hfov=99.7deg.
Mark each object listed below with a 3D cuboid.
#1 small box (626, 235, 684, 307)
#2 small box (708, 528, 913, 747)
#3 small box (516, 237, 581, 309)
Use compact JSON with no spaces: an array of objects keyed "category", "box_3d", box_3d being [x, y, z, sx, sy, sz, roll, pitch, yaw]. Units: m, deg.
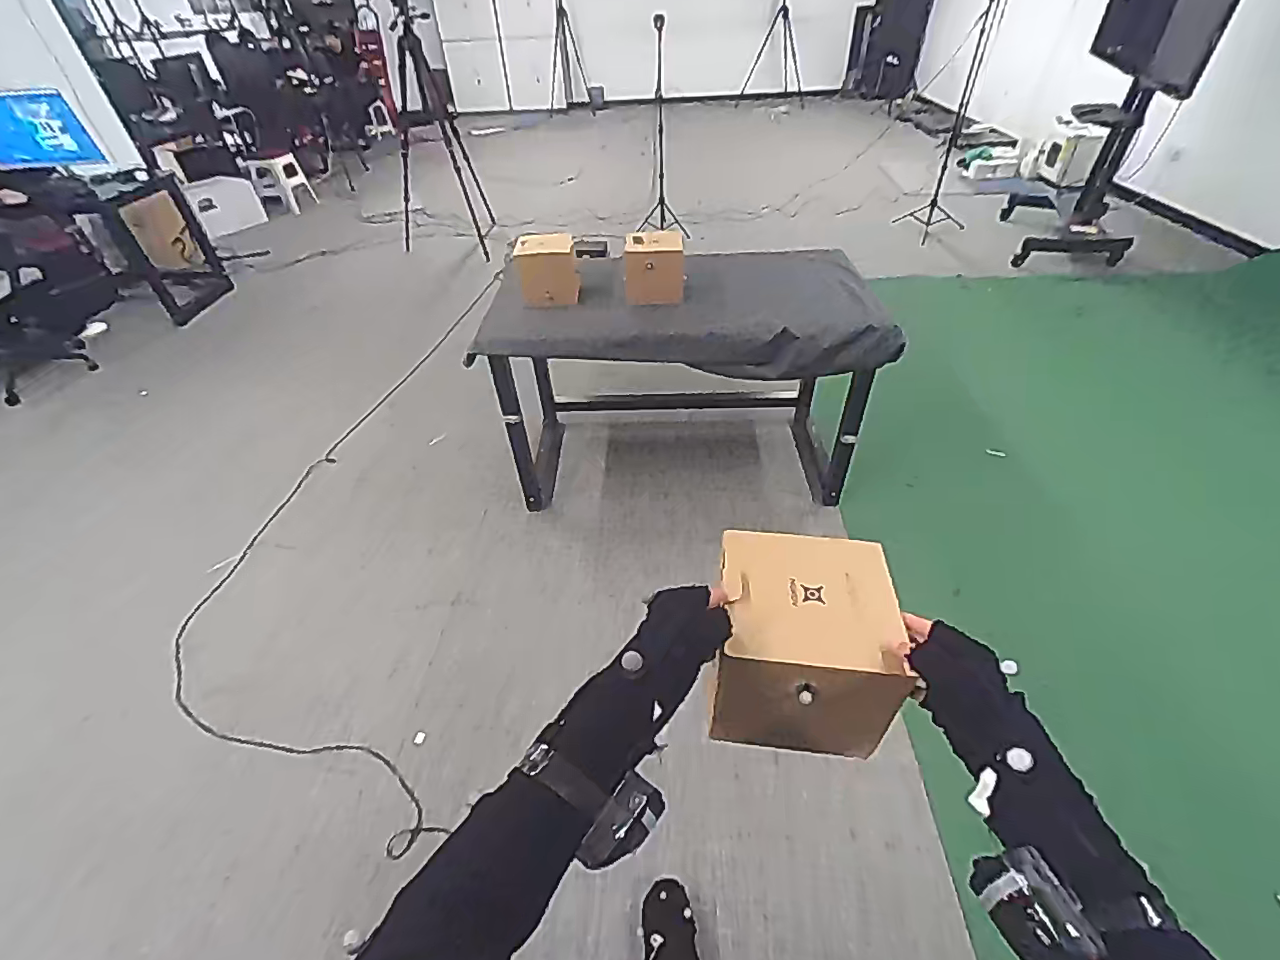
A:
[{"category":"small box","box_3d":[0.049,-0.654,1.700,0.179,0.176,0.168,-1,42,2]},{"category":"small box","box_3d":[0.170,0.176,0.605,0.179,0.176,0.168,5,41,4]},{"category":"small box","box_3d":[-0.284,-0.657,1.722,0.179,0.176,0.168,-2,42,0]}]
